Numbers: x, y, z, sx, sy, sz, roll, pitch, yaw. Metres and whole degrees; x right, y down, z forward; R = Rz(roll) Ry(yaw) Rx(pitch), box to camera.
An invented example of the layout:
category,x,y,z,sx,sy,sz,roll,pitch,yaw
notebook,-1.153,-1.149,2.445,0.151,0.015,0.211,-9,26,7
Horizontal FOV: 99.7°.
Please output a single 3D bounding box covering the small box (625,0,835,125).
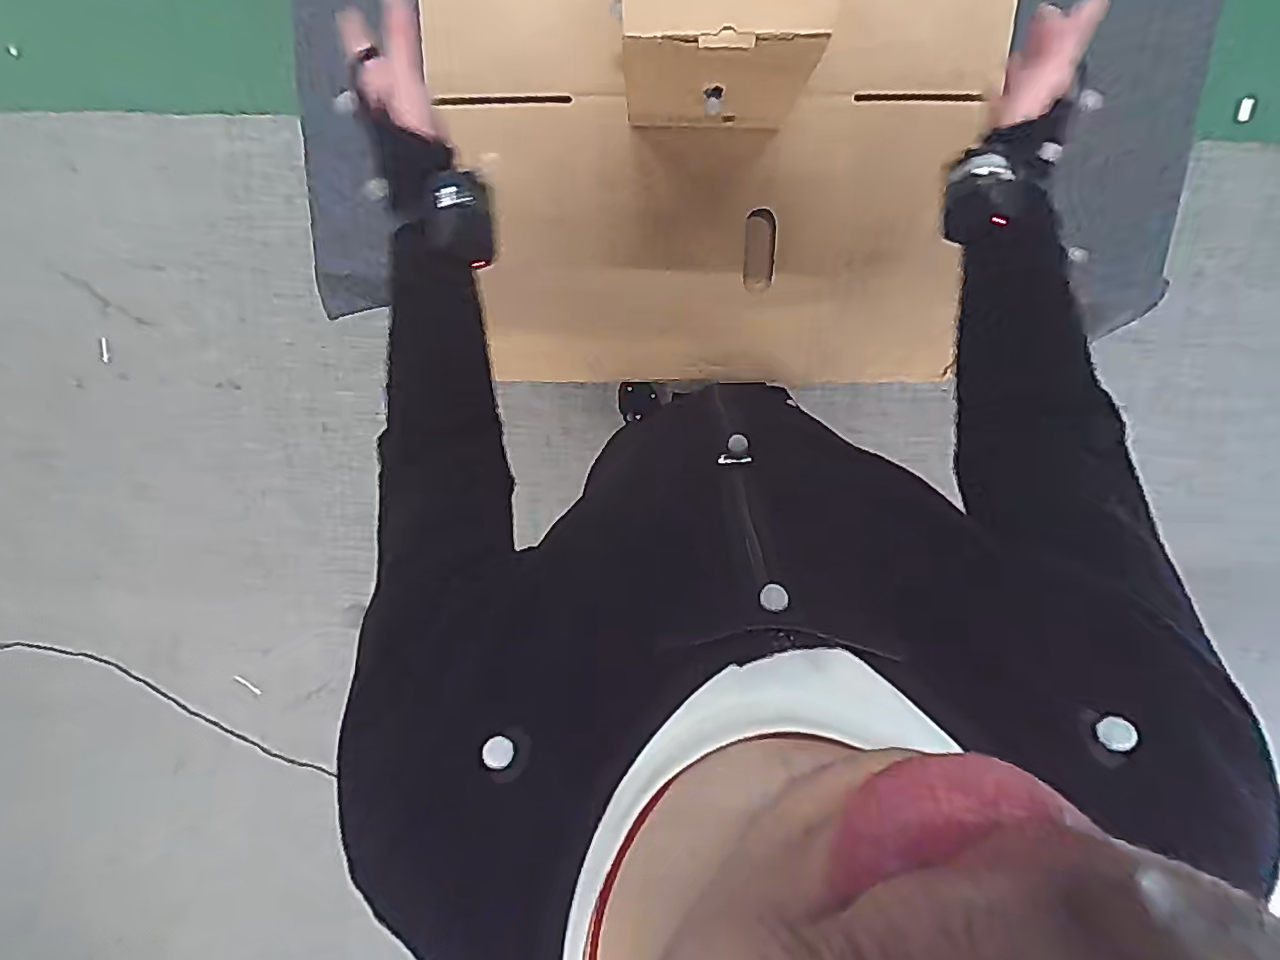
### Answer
category,x,y,z,sx,sy,sz,roll,pitch,yaw
small box,0.073,-0.444,0.486,0.168,0.176,0.179,-1,103,3
